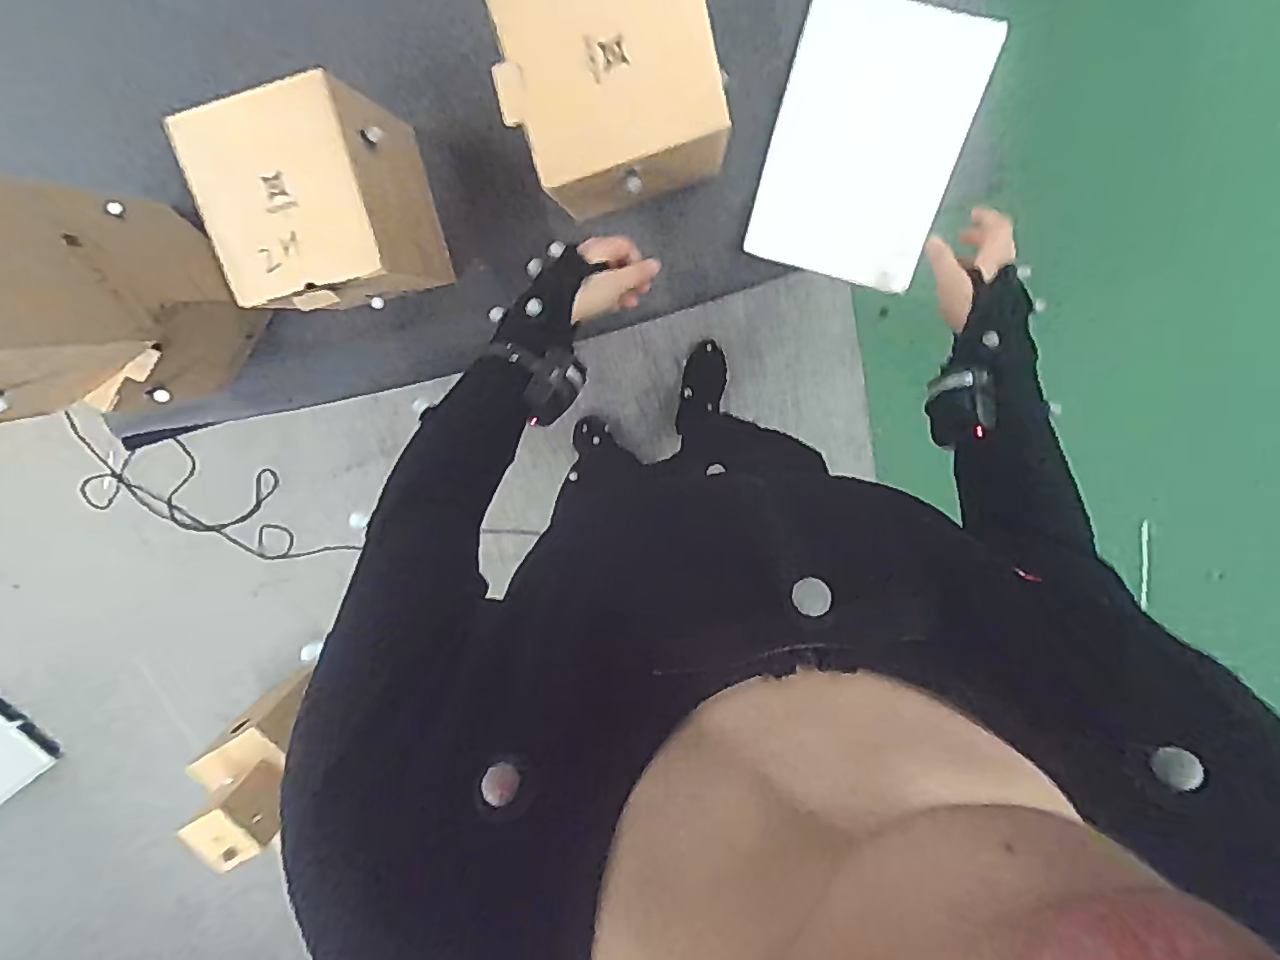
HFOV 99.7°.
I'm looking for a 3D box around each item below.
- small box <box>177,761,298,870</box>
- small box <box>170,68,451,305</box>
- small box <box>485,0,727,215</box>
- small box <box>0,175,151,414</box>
[{"bbox_3d":[-1.118,0.937,1.520,0.168,0.176,0.179,-31,103,12],"label":"small box"},{"bbox_3d":[-0.335,-0.296,0.590,0.168,0.176,0.179,-10,106,9],"label":"small box"},{"bbox_3d":[-0.021,-0.382,0.532,0.179,0.176,0.168,-13,105,11],"label":"small box"},{"bbox_3d":[-0.617,-0.160,0.489,0.179,0.176,0.168,-27,103,14],"label":"small box"}]
